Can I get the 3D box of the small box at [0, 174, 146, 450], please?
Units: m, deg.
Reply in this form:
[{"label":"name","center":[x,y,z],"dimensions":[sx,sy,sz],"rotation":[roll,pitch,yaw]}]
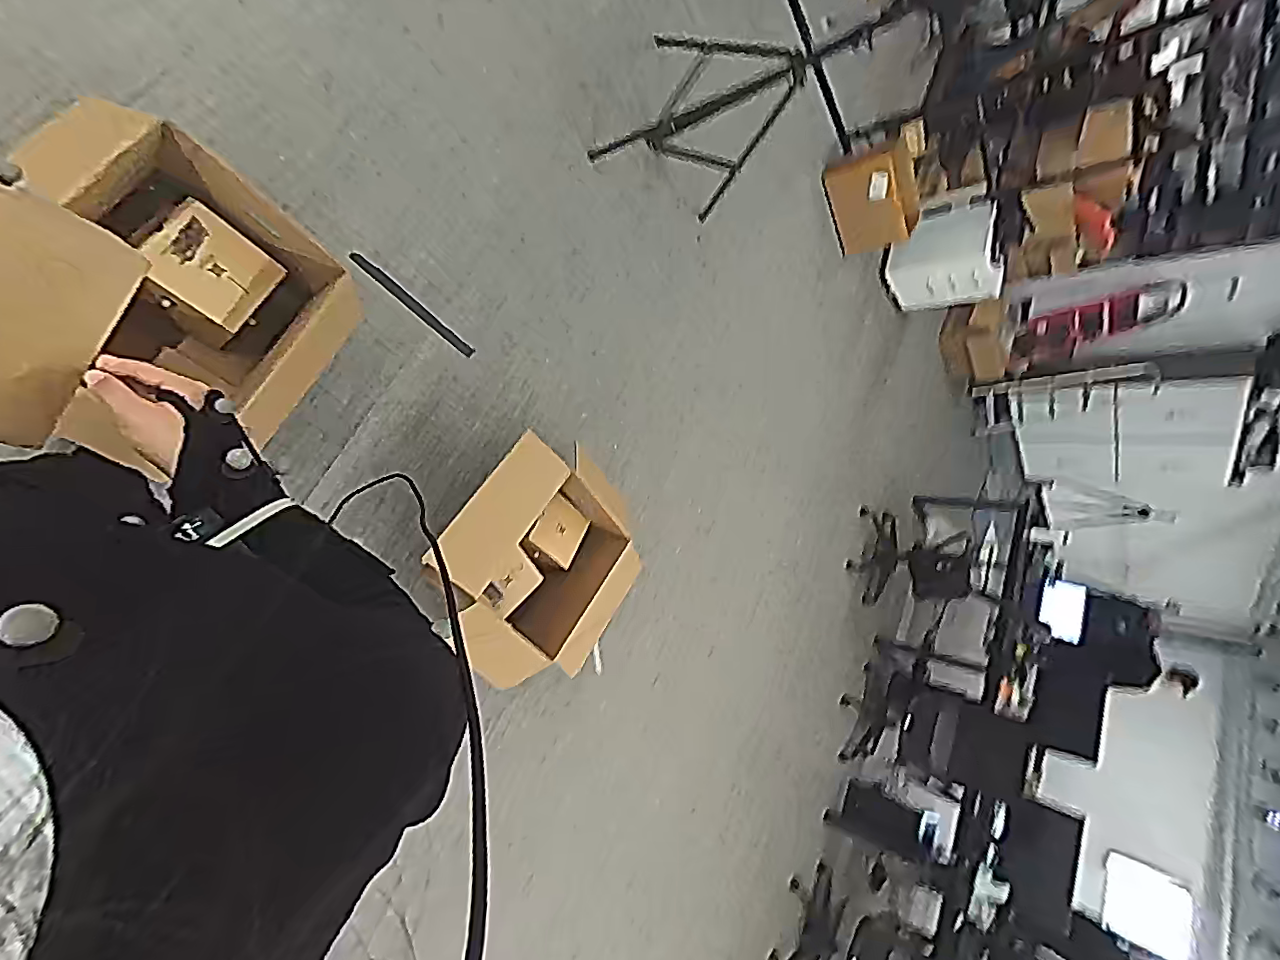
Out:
[{"label":"small box","center":[-0.505,-0.148,0.372],"dimensions":[0.168,0.176,0.179],"rotation":[-60,146,-2]}]
